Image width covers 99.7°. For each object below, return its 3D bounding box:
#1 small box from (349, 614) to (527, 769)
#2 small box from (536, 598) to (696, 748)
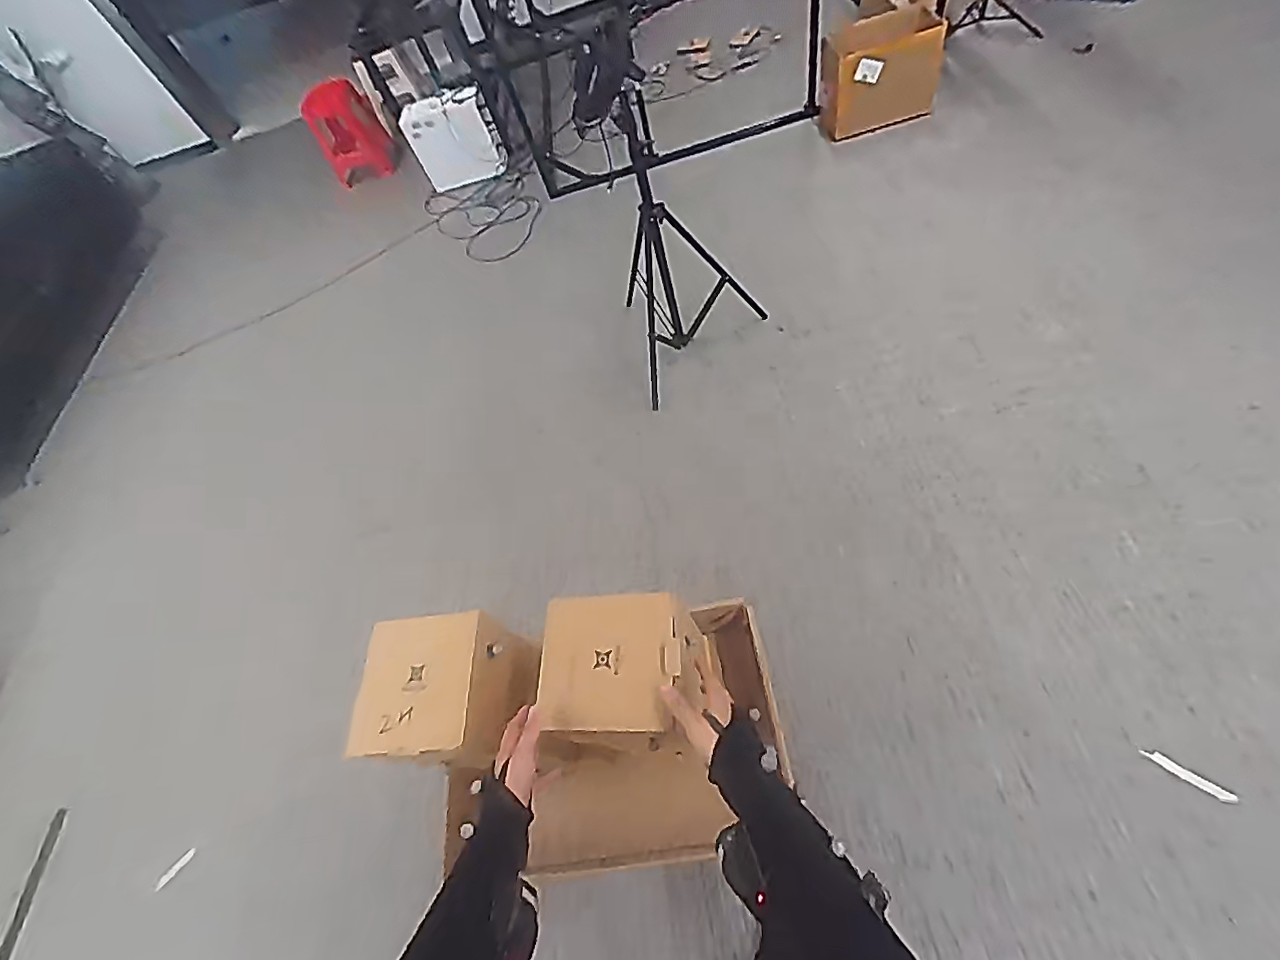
[{"bbox_3d":[-0.274,0.310,0.780,0.168,0.176,0.179,-9,58,10],"label":"small box"},{"bbox_3d":[-0.019,0.267,0.737,0.179,0.176,0.168,-6,59,14],"label":"small box"}]
